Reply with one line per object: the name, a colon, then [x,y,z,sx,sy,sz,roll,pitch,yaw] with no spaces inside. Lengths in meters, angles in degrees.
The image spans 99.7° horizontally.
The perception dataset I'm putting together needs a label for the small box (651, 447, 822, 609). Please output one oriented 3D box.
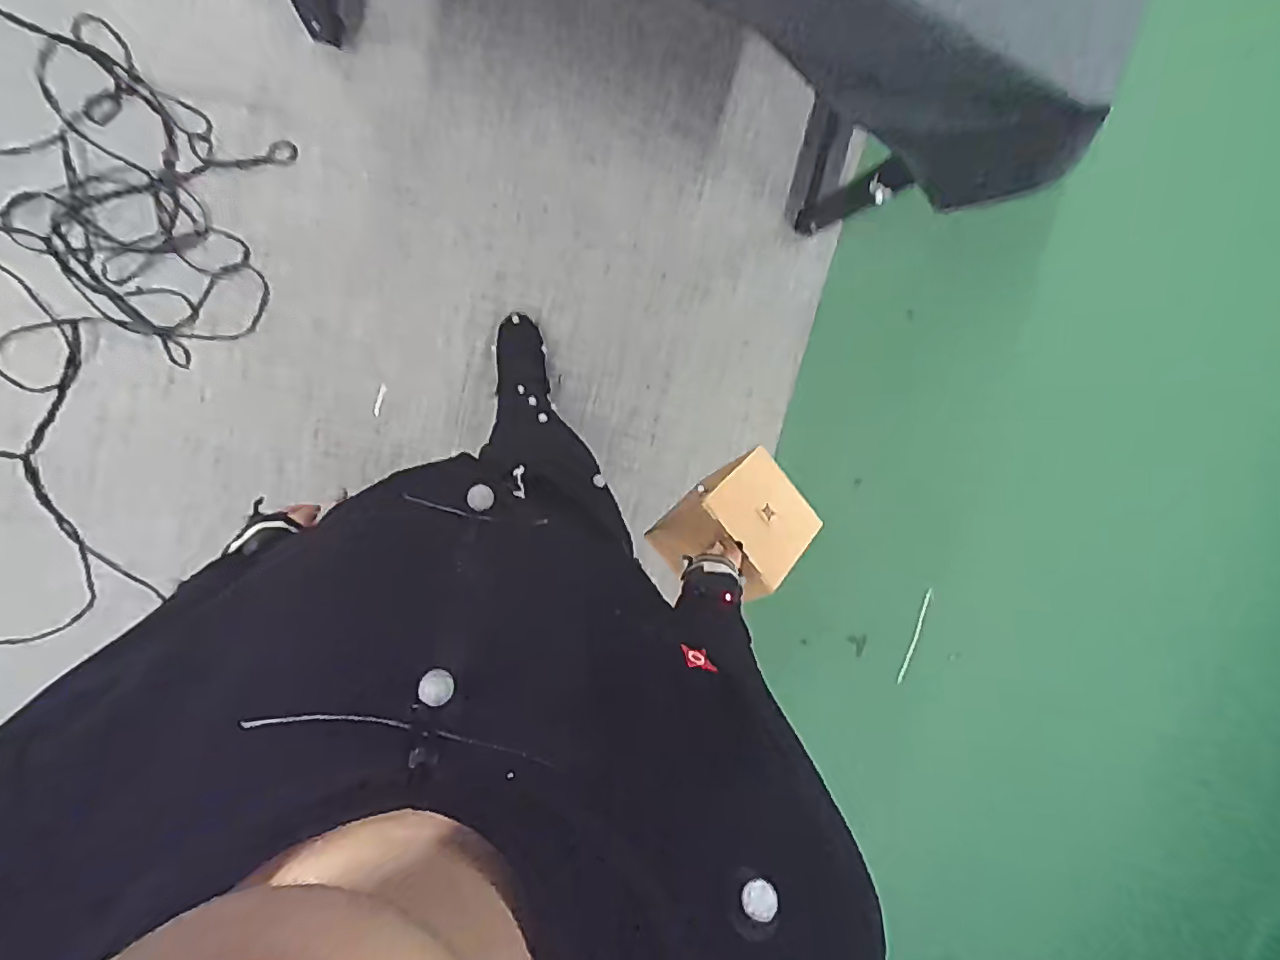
small box: [0.149,0.080,0.865,0.168,0.176,0.179,51,51,-2]
